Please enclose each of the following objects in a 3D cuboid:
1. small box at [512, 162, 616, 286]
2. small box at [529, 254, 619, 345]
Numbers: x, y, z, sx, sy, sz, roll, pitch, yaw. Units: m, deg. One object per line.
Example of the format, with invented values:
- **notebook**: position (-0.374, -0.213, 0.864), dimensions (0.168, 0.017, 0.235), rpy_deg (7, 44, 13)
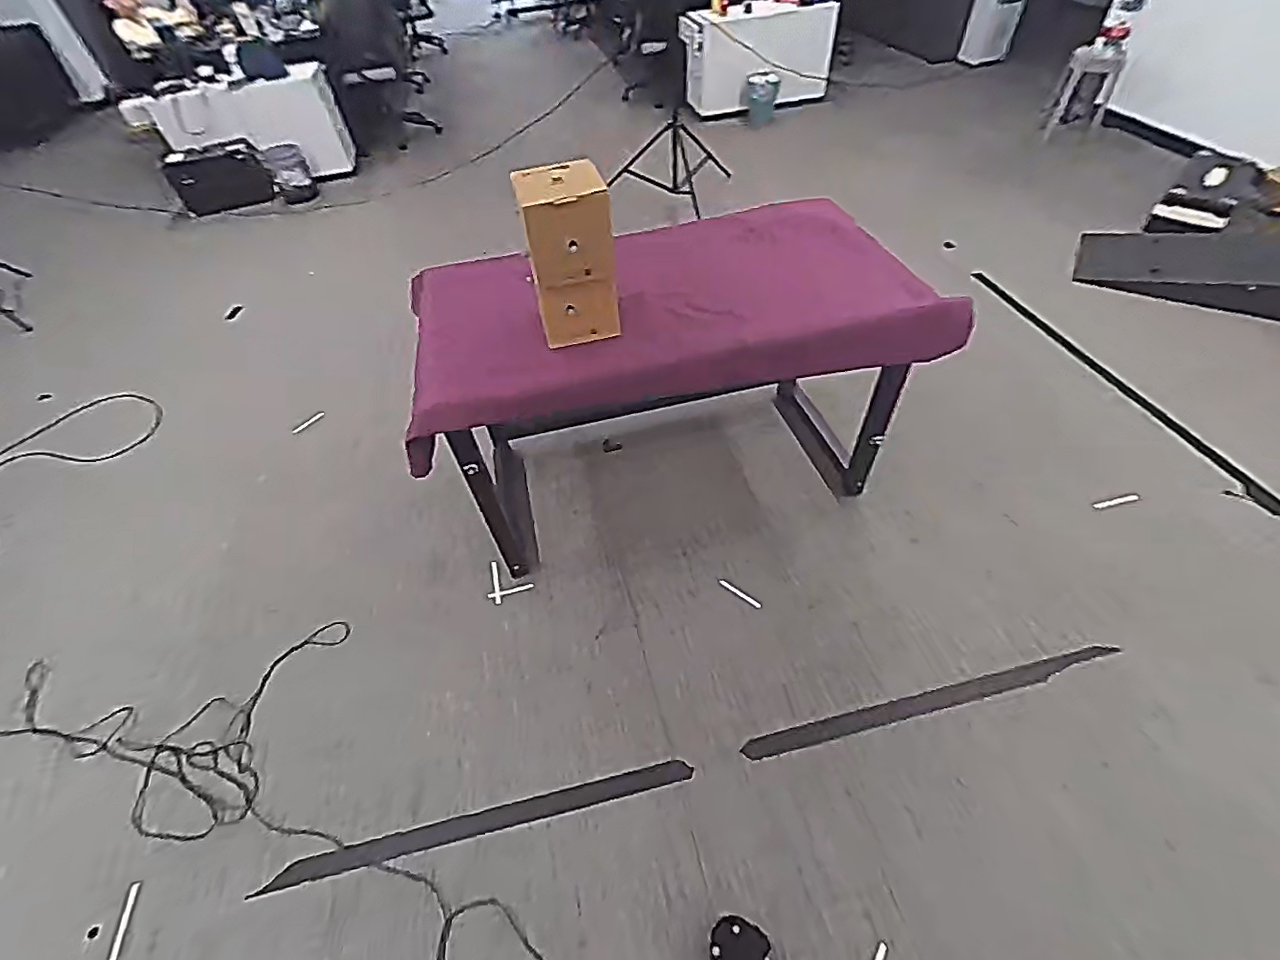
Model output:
- **small box**: position (-0.151, -0.513, 1.098), dimensions (0.168, 0.176, 0.179), rpy_deg (-14, 51, -7)
- **small box**: position (-0.148, -0.426, 1.240), dimensions (0.168, 0.176, 0.179), rpy_deg (-13, 50, -6)
